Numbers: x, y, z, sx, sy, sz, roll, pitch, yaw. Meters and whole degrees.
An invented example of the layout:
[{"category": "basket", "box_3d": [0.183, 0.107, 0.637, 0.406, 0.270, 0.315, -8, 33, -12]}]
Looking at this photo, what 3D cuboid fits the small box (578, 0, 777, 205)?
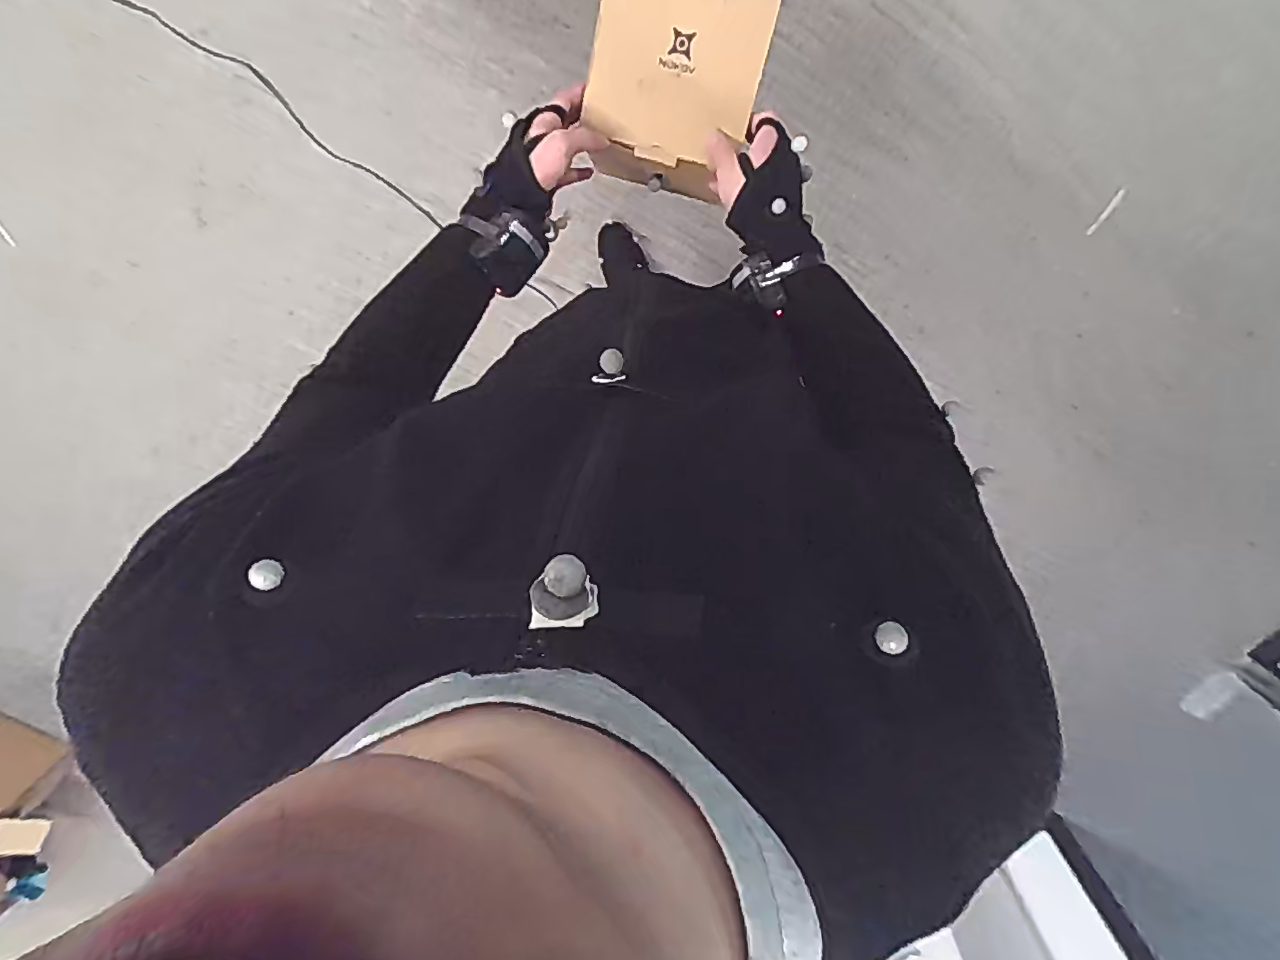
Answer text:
[{"category": "small box", "box_3d": [0.039, -0.426, 0.604, 0.168, 0.176, 0.179, 13, 109, -1]}]
